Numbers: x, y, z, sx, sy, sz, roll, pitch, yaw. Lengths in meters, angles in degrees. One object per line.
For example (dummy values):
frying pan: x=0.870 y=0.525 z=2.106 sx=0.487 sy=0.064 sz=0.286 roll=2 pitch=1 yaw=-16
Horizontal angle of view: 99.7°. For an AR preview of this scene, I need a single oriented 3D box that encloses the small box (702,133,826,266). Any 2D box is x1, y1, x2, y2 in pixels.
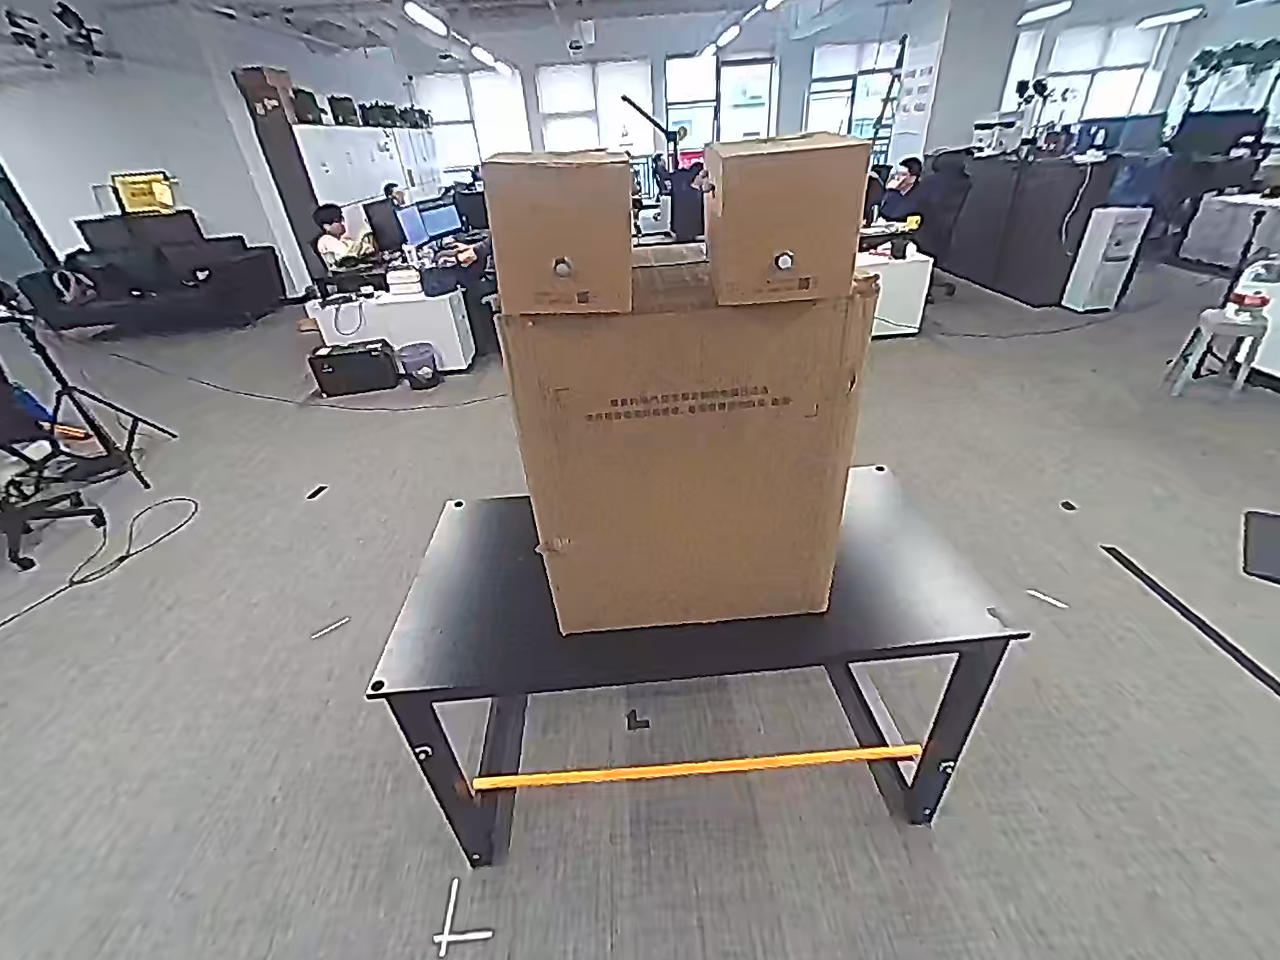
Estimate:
small box: x=0.190 y=-0.451 z=0.876 sx=0.168 sy=0.176 sz=0.179 roll=-5 pitch=31 yaw=3
